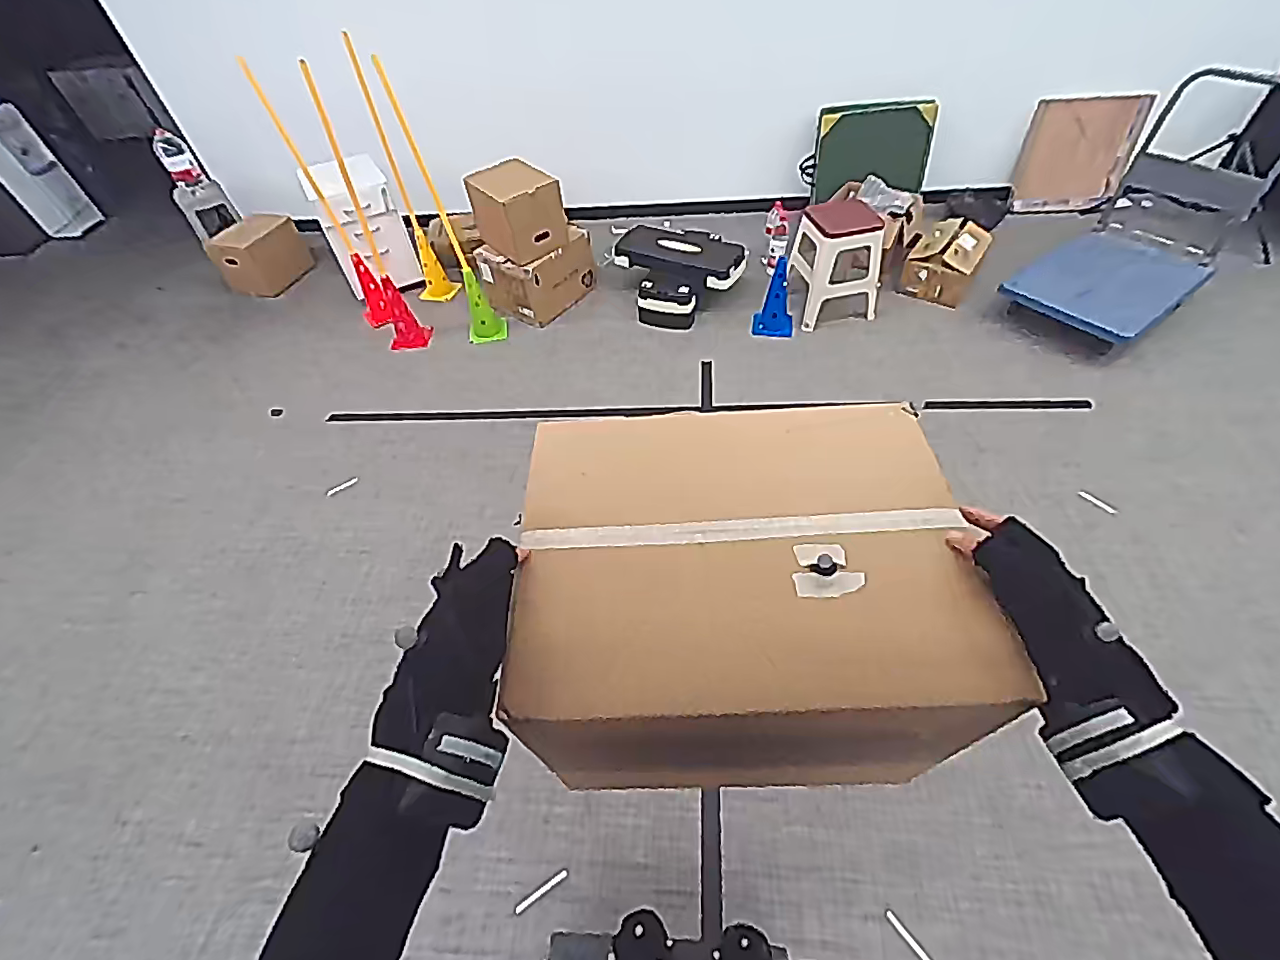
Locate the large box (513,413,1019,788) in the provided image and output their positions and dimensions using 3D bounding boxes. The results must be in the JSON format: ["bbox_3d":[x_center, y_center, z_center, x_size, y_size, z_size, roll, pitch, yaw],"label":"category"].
[{"bbox_3d":[0.098,0.149,0.626,0.408,0.320,0.320,-3,52,2],"label":"large box"}]

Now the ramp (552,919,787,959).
[{"bbox_3d":[0.045,1.371,0.895,0.509,0.206,0.991,-1,50,3],"label":"ramp"}]
